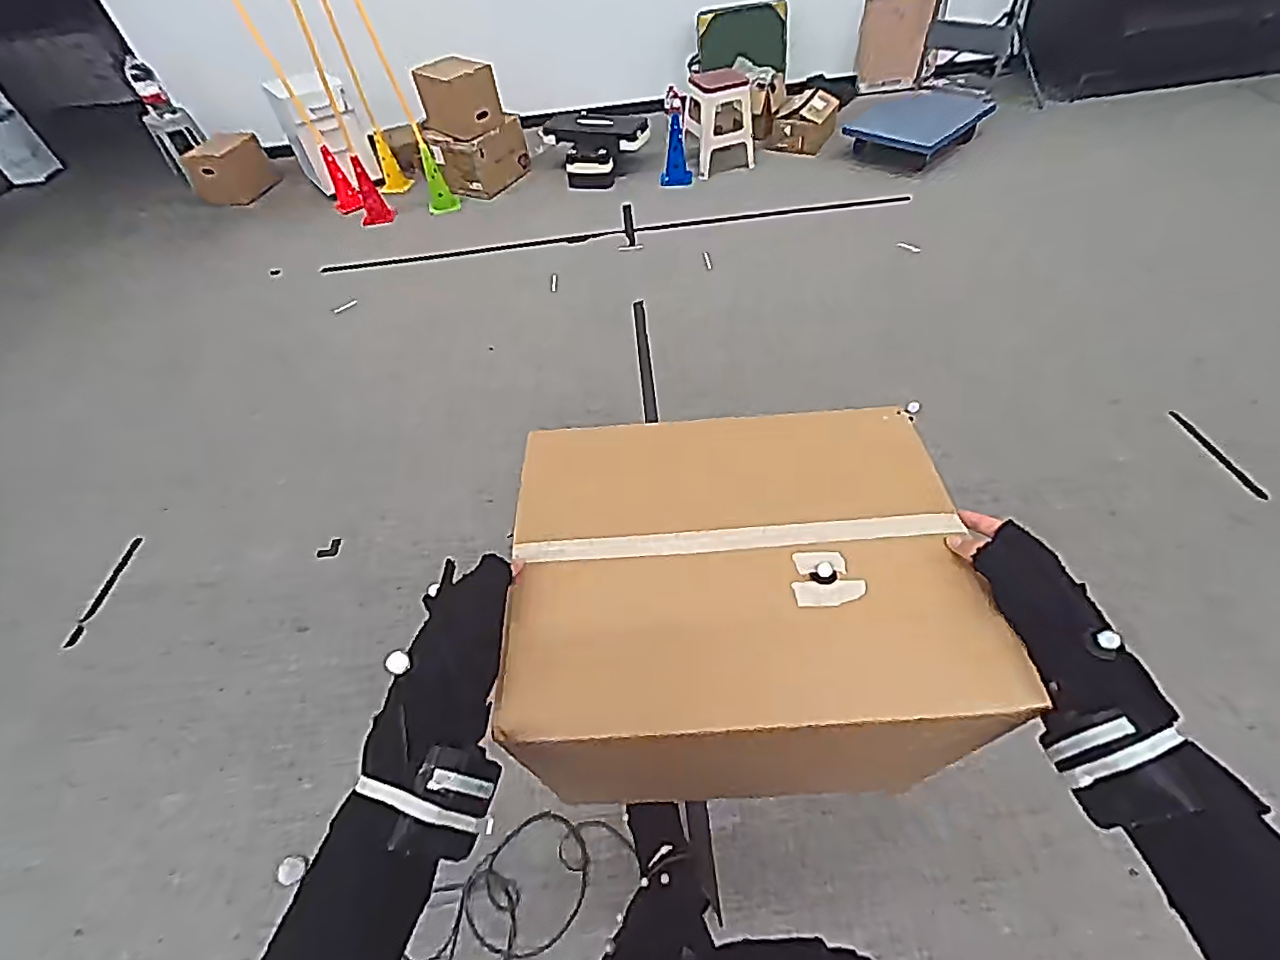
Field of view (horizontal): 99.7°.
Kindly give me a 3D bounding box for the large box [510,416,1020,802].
[{"bbox_3d":[0.094,0.155,0.621,0.408,0.320,0.320,-4,51,1],"label":"large box"}]
